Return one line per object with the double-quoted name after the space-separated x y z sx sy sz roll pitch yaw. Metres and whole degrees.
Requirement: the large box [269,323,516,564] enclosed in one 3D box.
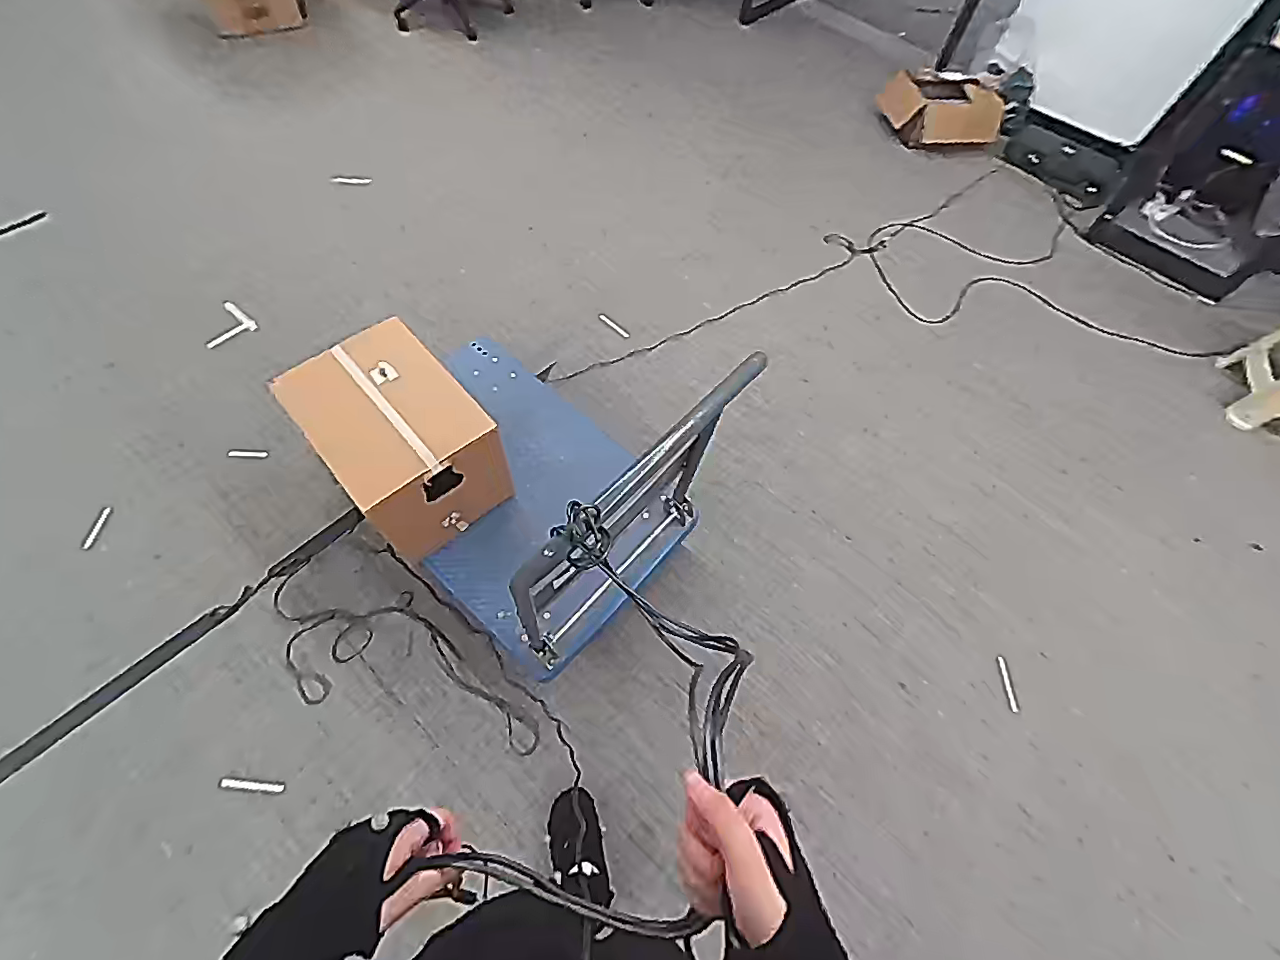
-0.551 -0.080 1.270 0.320 0.320 0.408 -38 70 -23 "large box"
